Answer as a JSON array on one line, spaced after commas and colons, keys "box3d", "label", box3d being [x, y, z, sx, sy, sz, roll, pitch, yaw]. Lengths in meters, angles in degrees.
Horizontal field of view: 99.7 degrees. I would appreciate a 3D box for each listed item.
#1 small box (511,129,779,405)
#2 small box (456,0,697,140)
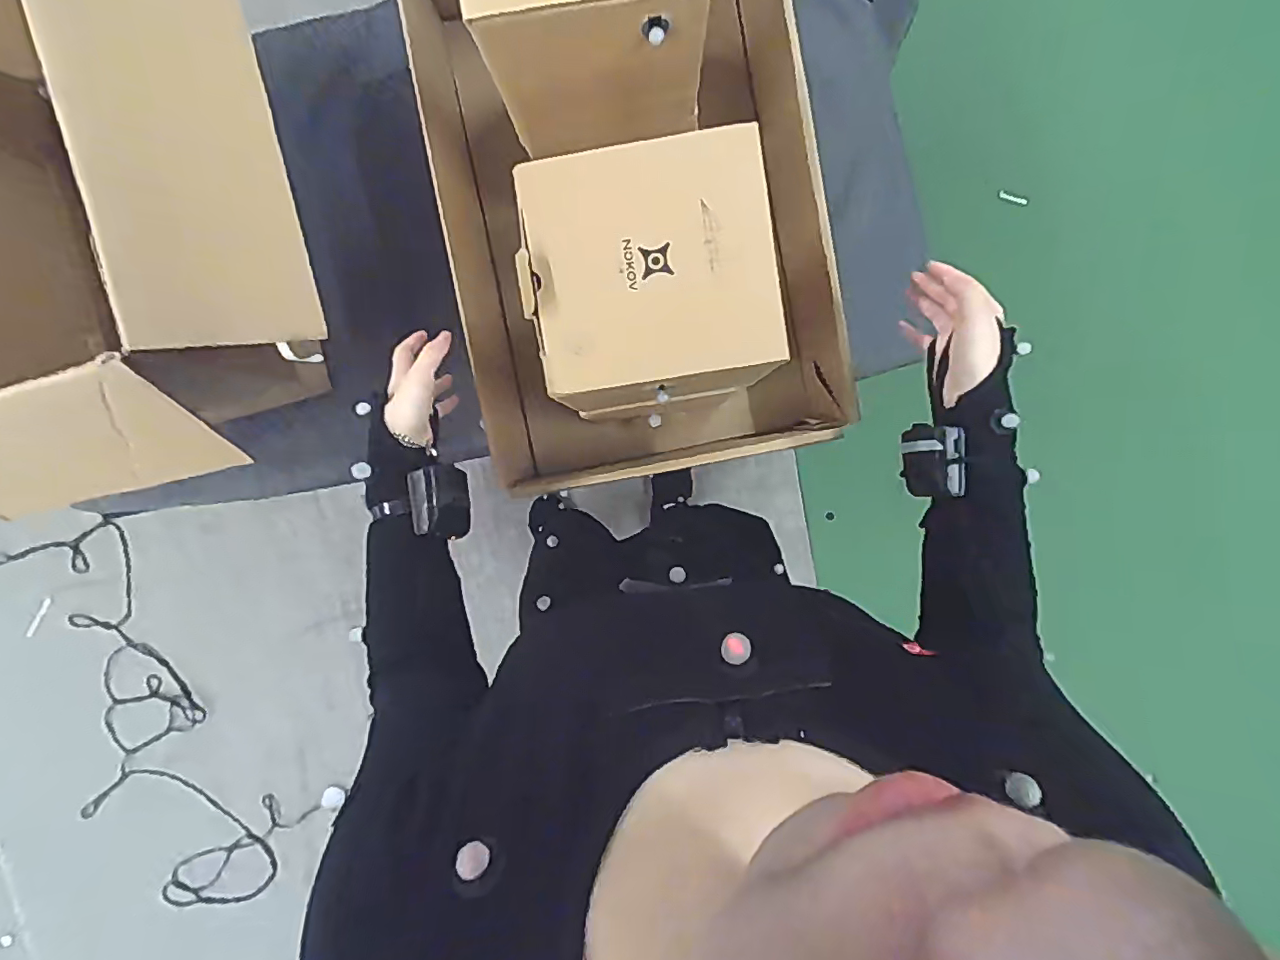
[{"box3d": [0.007, -0.160, 0.466, 0.179, 0.176, 0.168, -9, 95, 2], "label": "small box"}, {"box3d": [-0.049, -0.414, 0.448, 0.179, 0.176, 0.168, -8, 95, 1], "label": "small box"}]
